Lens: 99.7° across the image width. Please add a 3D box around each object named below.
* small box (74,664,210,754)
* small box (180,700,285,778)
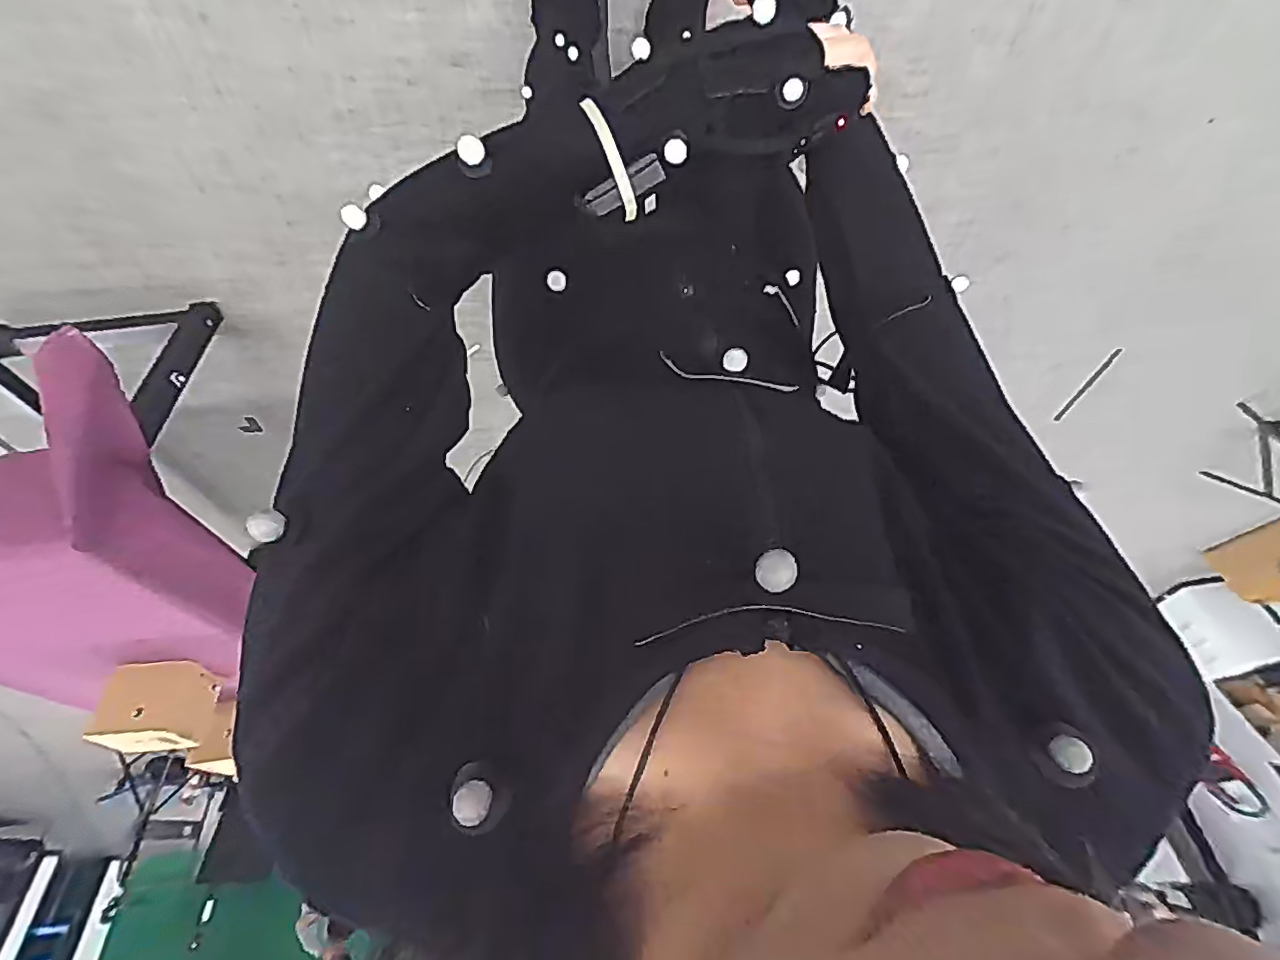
[{"bbox_3d":[-1.213,0.565,1.341,0.179,0.176,0.168,0,142,-9],"label":"small box"},{"bbox_3d":[-1.191,0.765,1.603,0.179,0.176,0.168,-11,142,3],"label":"small box"}]
